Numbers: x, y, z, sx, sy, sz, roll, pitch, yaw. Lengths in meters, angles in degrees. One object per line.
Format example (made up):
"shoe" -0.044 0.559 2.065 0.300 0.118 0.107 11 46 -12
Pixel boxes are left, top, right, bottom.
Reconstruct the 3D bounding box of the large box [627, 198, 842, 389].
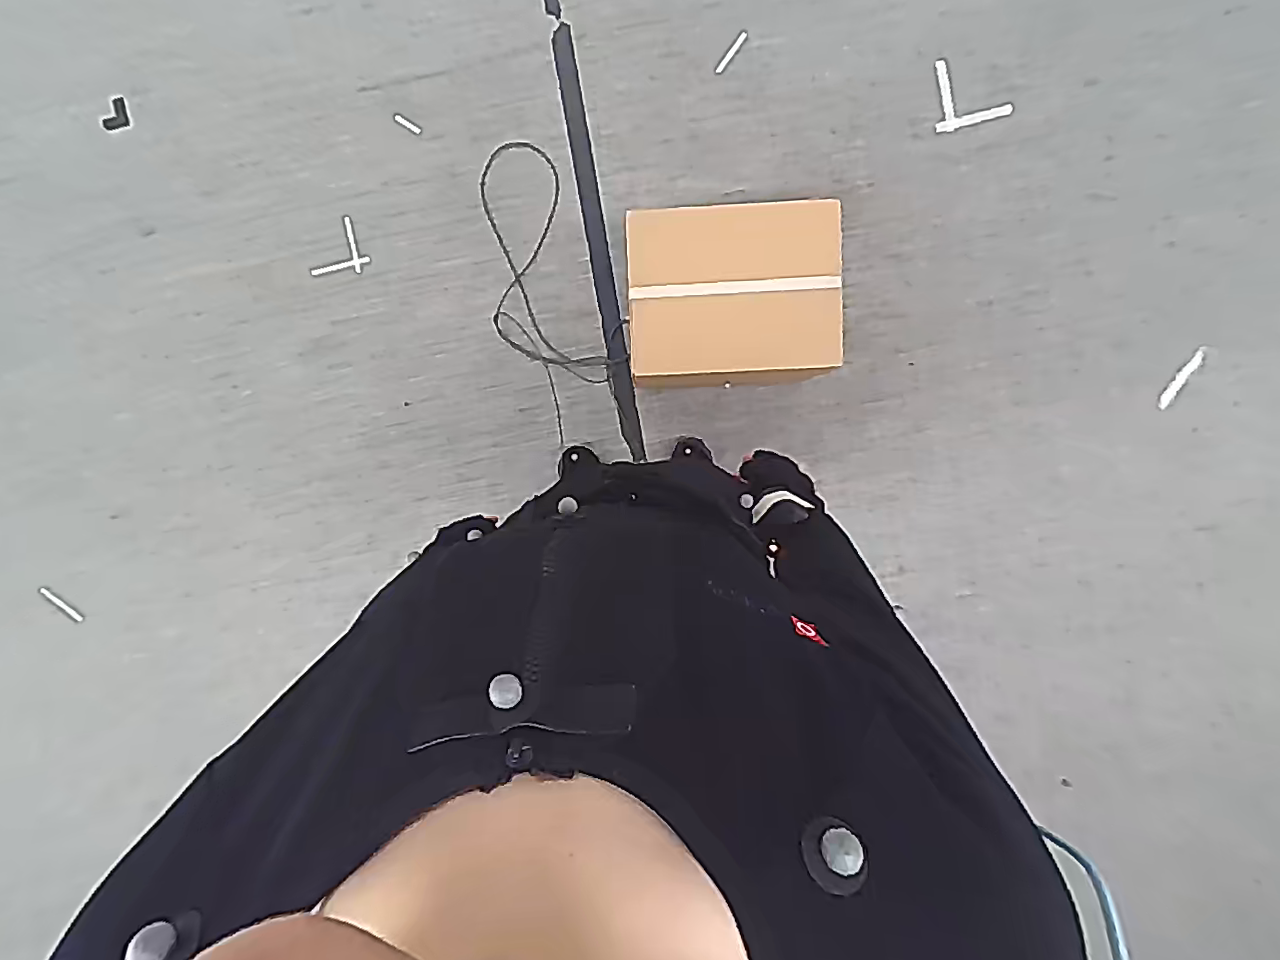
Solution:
"large box" 0.186 -0.380 1.185 0.408 0.320 0.320 -2 95 2
